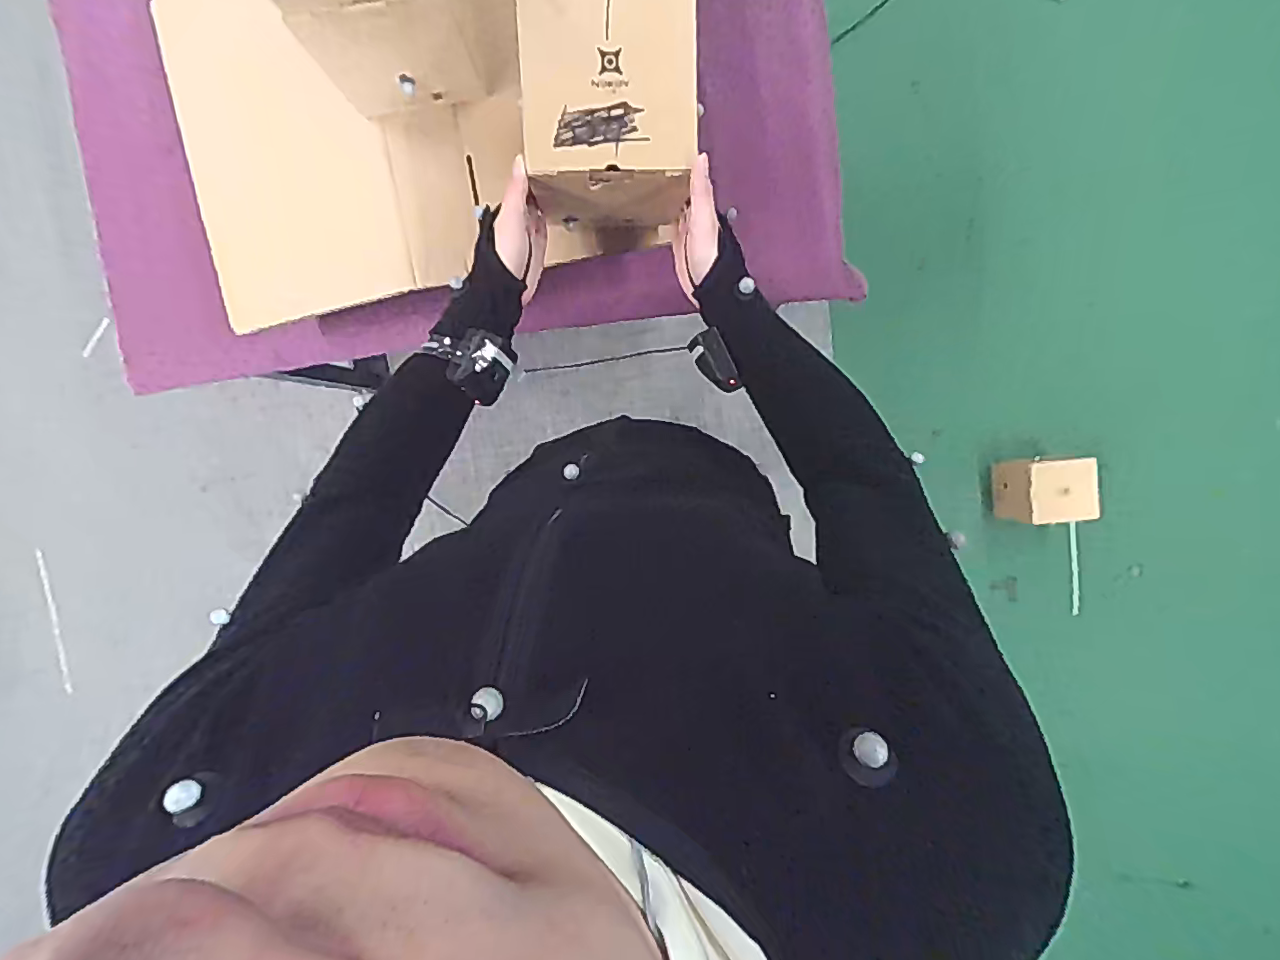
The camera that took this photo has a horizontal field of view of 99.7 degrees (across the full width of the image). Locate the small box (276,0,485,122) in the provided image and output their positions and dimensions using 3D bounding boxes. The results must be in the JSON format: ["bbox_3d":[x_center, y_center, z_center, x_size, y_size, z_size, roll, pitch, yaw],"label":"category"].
[{"bbox_3d":[-0.288,-0.549,0.608,0.168,0.176,0.179,-10,95,0],"label":"small box"}]

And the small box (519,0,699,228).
[{"bbox_3d":[-0.030,-0.381,0.578,0.168,0.176,0.179,-2,99,-3],"label":"small box"}]

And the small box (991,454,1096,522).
[{"bbox_3d":[1.130,0.019,1.522,0.179,0.176,0.168,-7,94,2],"label":"small box"}]
